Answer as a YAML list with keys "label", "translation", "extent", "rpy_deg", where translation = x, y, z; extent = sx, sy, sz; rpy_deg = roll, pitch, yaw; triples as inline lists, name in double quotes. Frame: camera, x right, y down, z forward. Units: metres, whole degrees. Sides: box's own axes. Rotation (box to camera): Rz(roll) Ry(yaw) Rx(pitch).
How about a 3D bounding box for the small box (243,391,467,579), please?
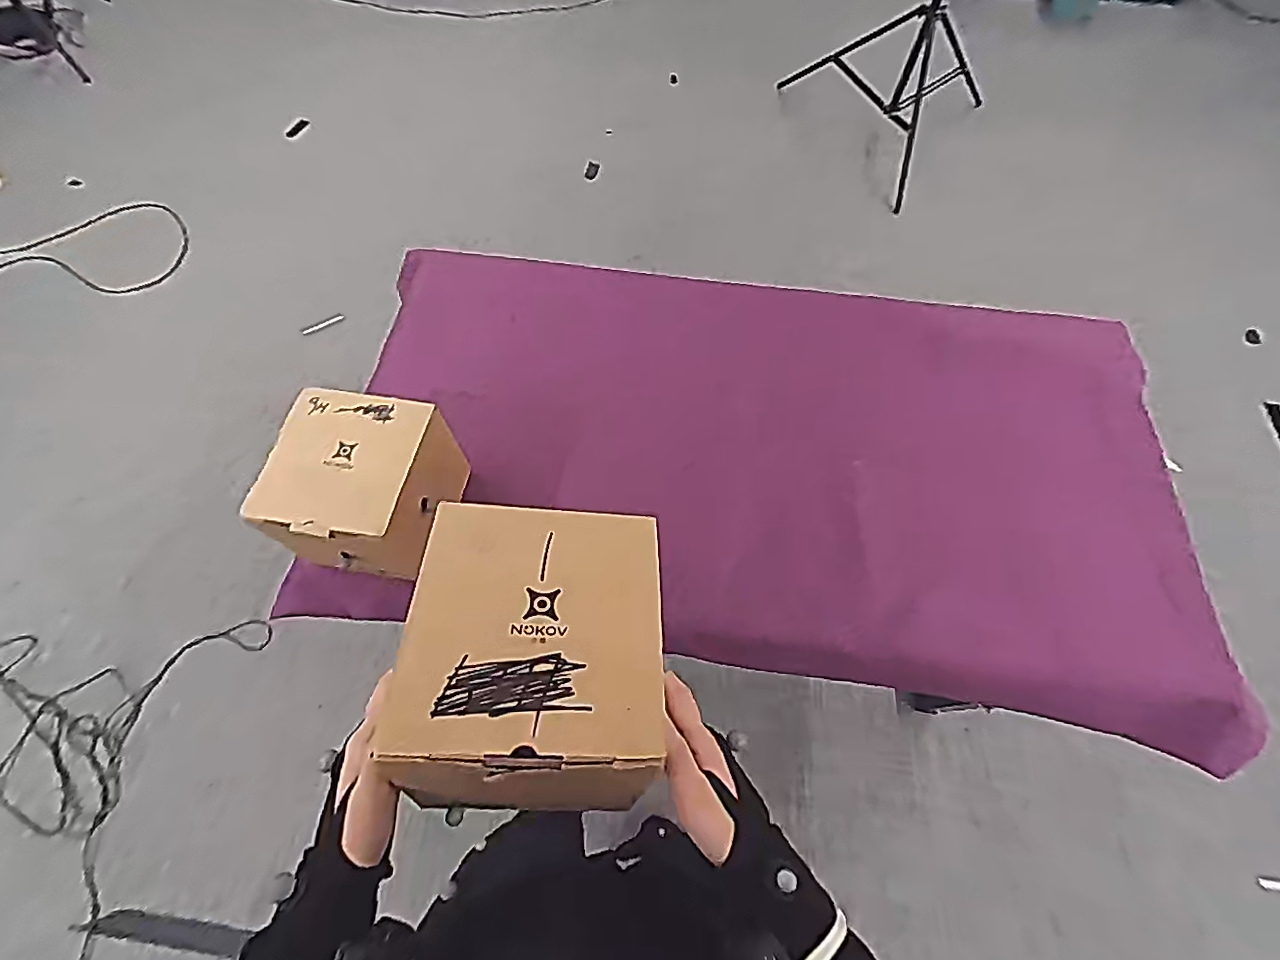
- label: "small box"
  translation: [-0.337, 0.015, 0.685]
  extent: [0.168, 0.176, 0.179]
  rpy_deg: [8, 64, 3]

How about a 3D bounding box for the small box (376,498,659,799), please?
- label: "small box"
  translation: [-0.079, 0.138, 0.423]
  extent: [0.168, 0.176, 0.179]
  rpy_deg: [5, 50, -7]
